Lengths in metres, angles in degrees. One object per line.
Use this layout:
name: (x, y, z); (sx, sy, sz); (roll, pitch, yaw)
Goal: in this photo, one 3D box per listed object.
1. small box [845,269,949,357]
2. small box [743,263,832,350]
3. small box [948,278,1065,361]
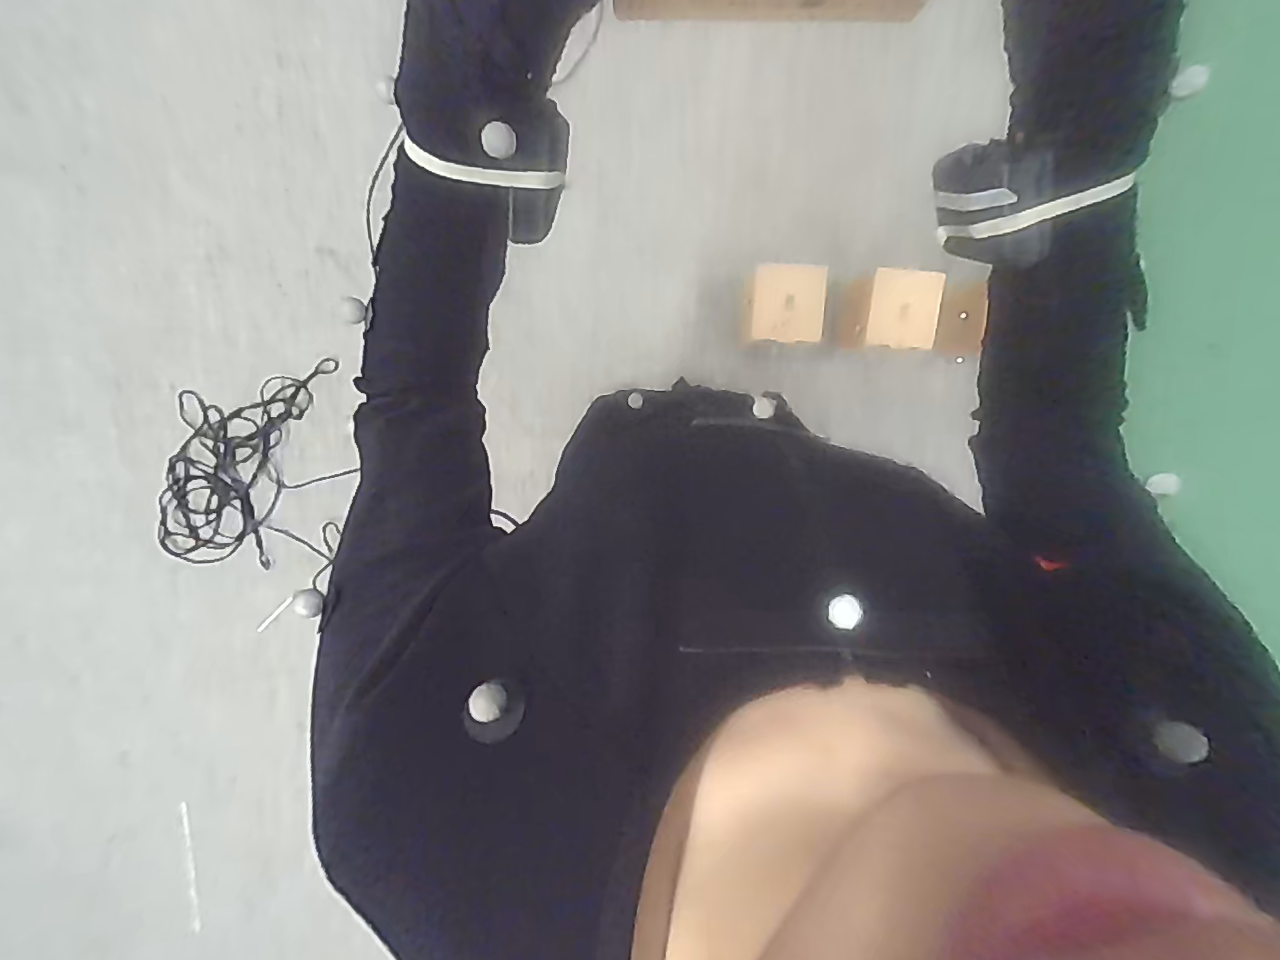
small box: (0.619, -0.402, 1.324); (0.168, 0.176, 0.179); (4, 100, -1)
small box: (0.351, -0.416, 1.318); (0.168, 0.176, 0.179); (3, 100, 0)
small box: (0.888, -0.387, 1.327); (0.168, 0.176, 0.179); (1, 99, 0)
